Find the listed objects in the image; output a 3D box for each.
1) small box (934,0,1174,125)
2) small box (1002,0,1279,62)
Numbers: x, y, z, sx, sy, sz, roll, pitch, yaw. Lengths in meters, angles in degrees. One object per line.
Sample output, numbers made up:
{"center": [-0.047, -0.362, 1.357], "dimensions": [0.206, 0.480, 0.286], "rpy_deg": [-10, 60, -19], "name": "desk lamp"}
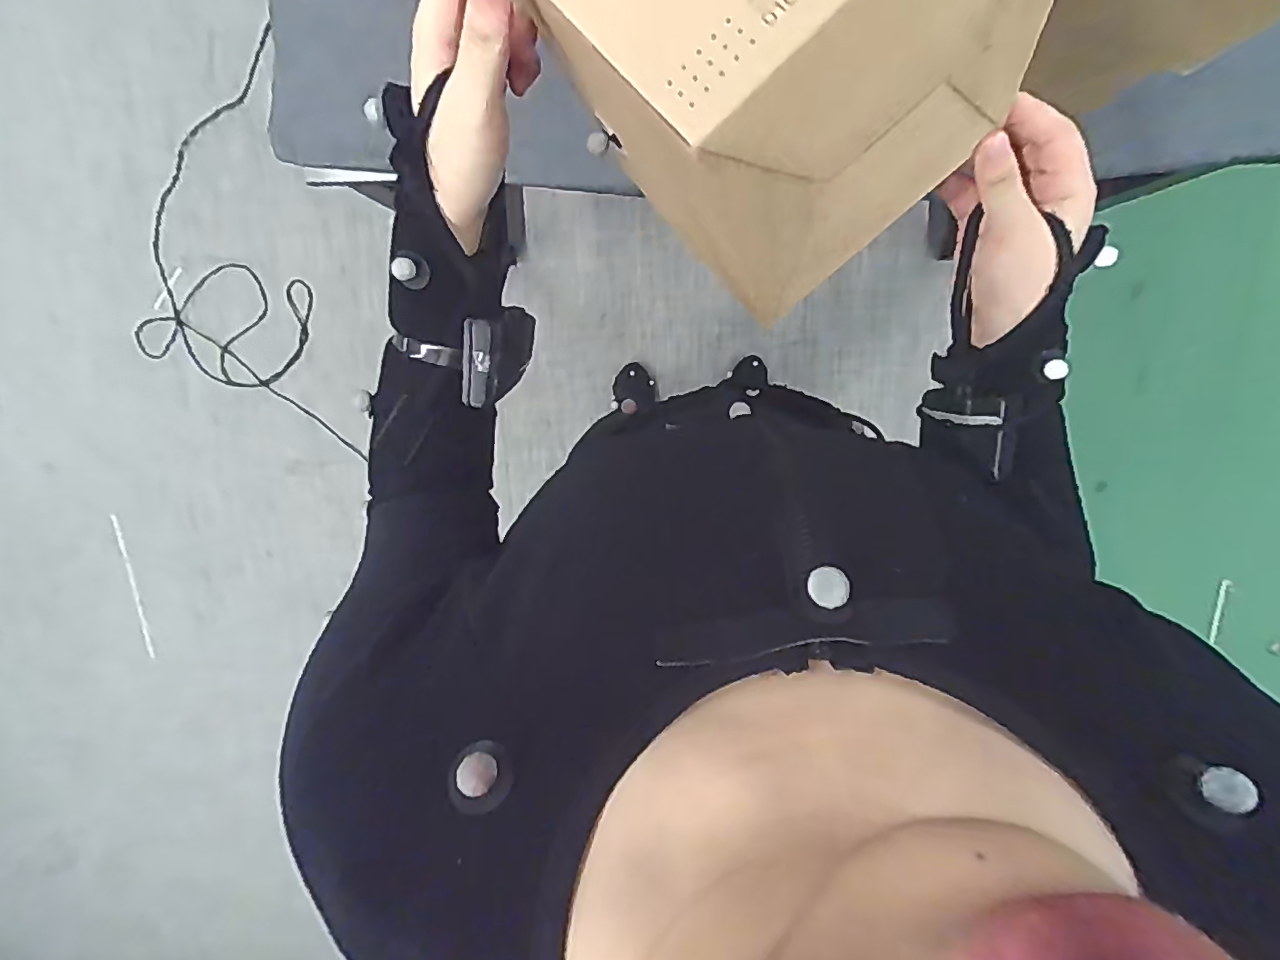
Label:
{"center": [0.419, -0.487, 0.537], "dimensions": [0.168, 0.176, 0.179], "rpy_deg": [2, 102, 3], "name": "small box"}
{"center": [0.411, -0.439, 0.382], "dimensions": [0.179, 0.176, 0.168], "rpy_deg": [12, 102, 2], "name": "small box"}
